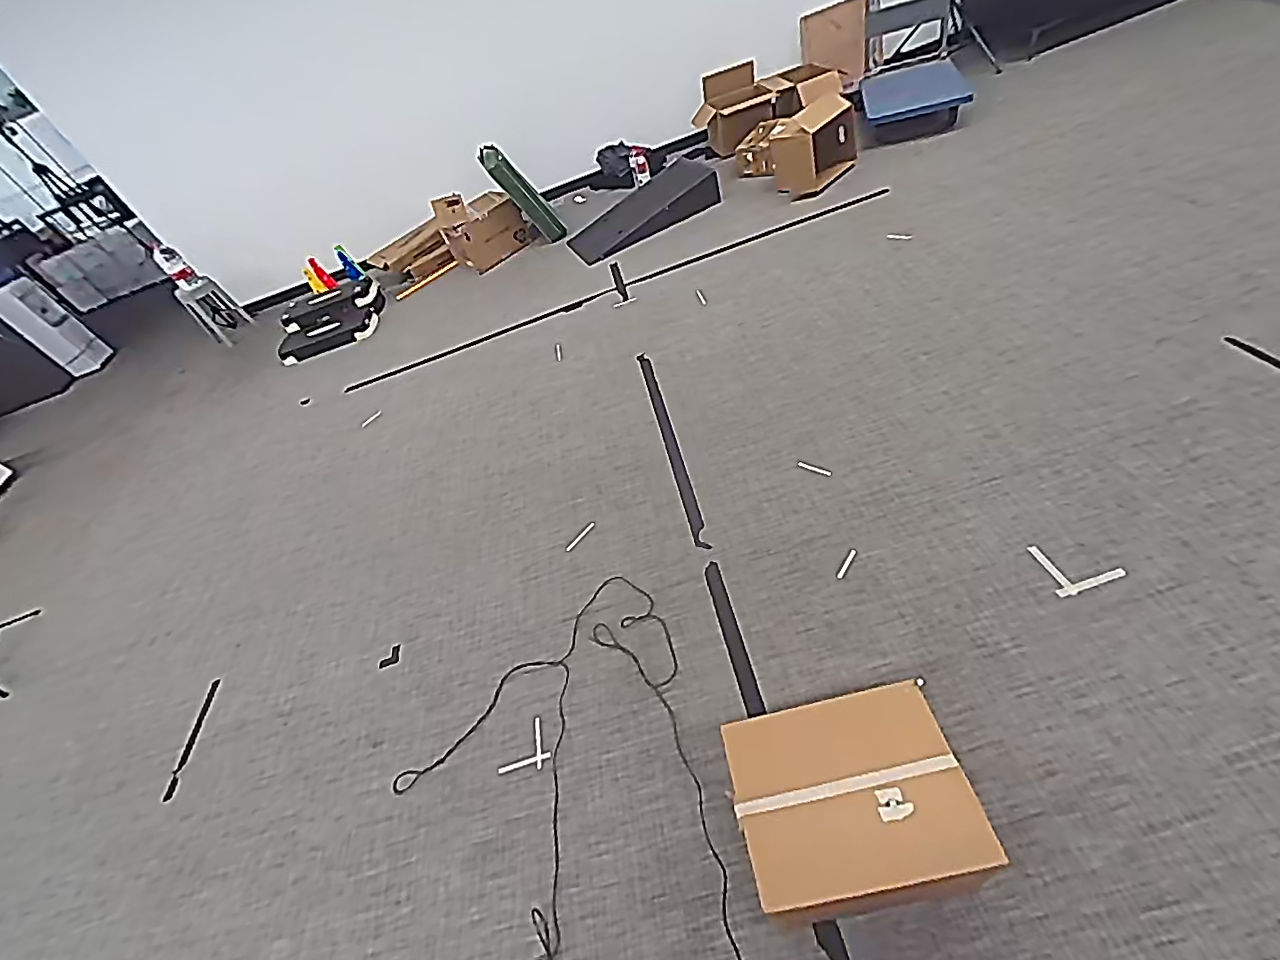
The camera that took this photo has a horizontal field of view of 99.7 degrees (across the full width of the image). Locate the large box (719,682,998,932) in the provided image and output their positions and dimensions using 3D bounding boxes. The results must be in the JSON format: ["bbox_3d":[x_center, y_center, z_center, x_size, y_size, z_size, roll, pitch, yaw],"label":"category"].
[{"bbox_3d":[0.410,0.669,1.099,0.408,0.320,0.320,-16,45,5],"label":"large box"}]
